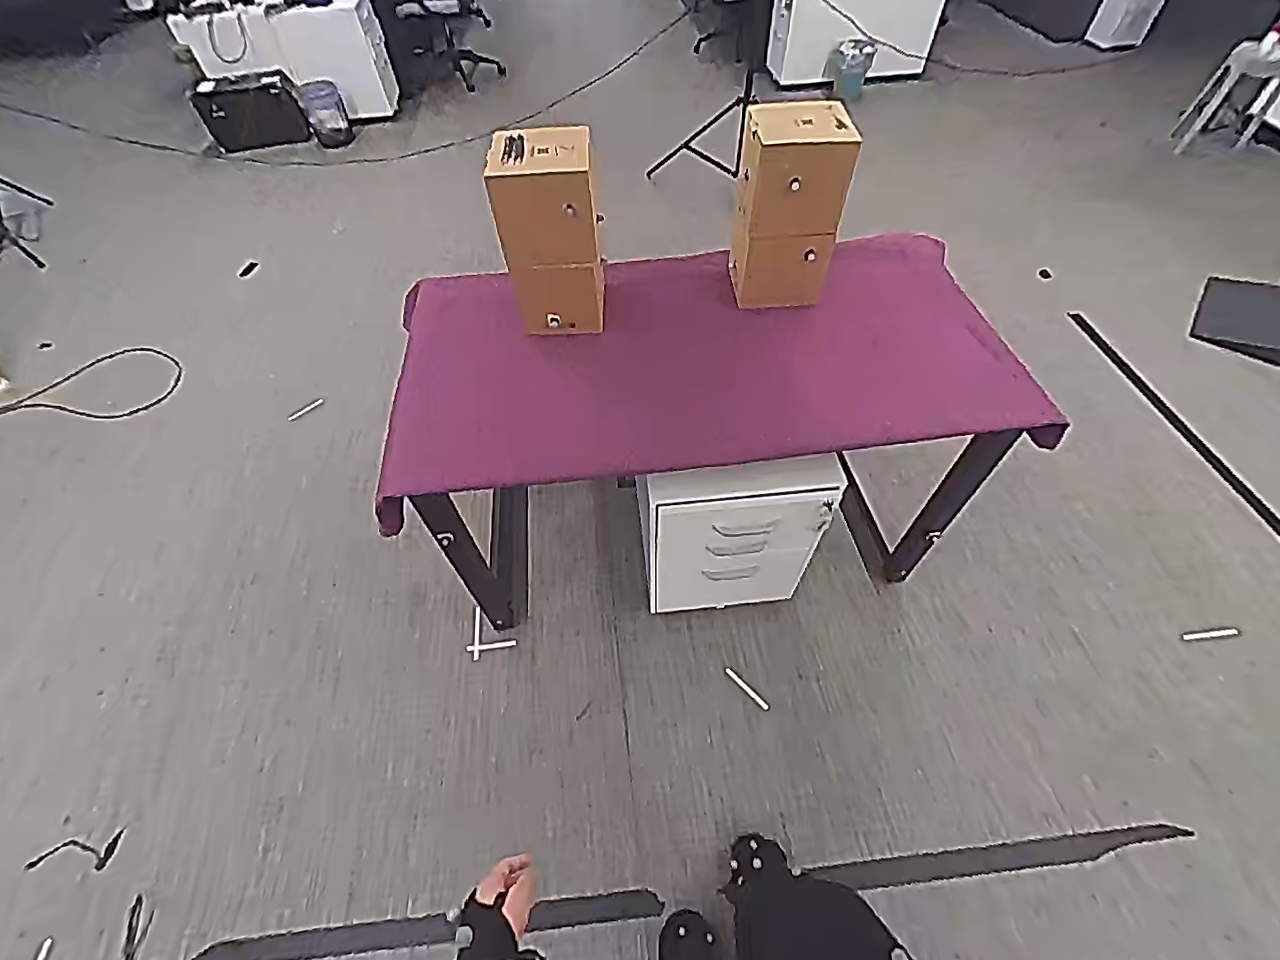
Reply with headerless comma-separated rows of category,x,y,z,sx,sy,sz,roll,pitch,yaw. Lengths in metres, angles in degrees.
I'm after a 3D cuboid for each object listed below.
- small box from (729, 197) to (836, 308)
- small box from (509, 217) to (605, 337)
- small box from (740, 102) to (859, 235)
small box,0.295,-0.488,1.159,0.179,0.176,0.168,-4,54,0
small box,-0.164,-0.421,1.129,0.168,0.176,0.179,-2,56,2
small box,0.288,-0.585,1.026,0.179,0.176,0.168,-3,55,1
